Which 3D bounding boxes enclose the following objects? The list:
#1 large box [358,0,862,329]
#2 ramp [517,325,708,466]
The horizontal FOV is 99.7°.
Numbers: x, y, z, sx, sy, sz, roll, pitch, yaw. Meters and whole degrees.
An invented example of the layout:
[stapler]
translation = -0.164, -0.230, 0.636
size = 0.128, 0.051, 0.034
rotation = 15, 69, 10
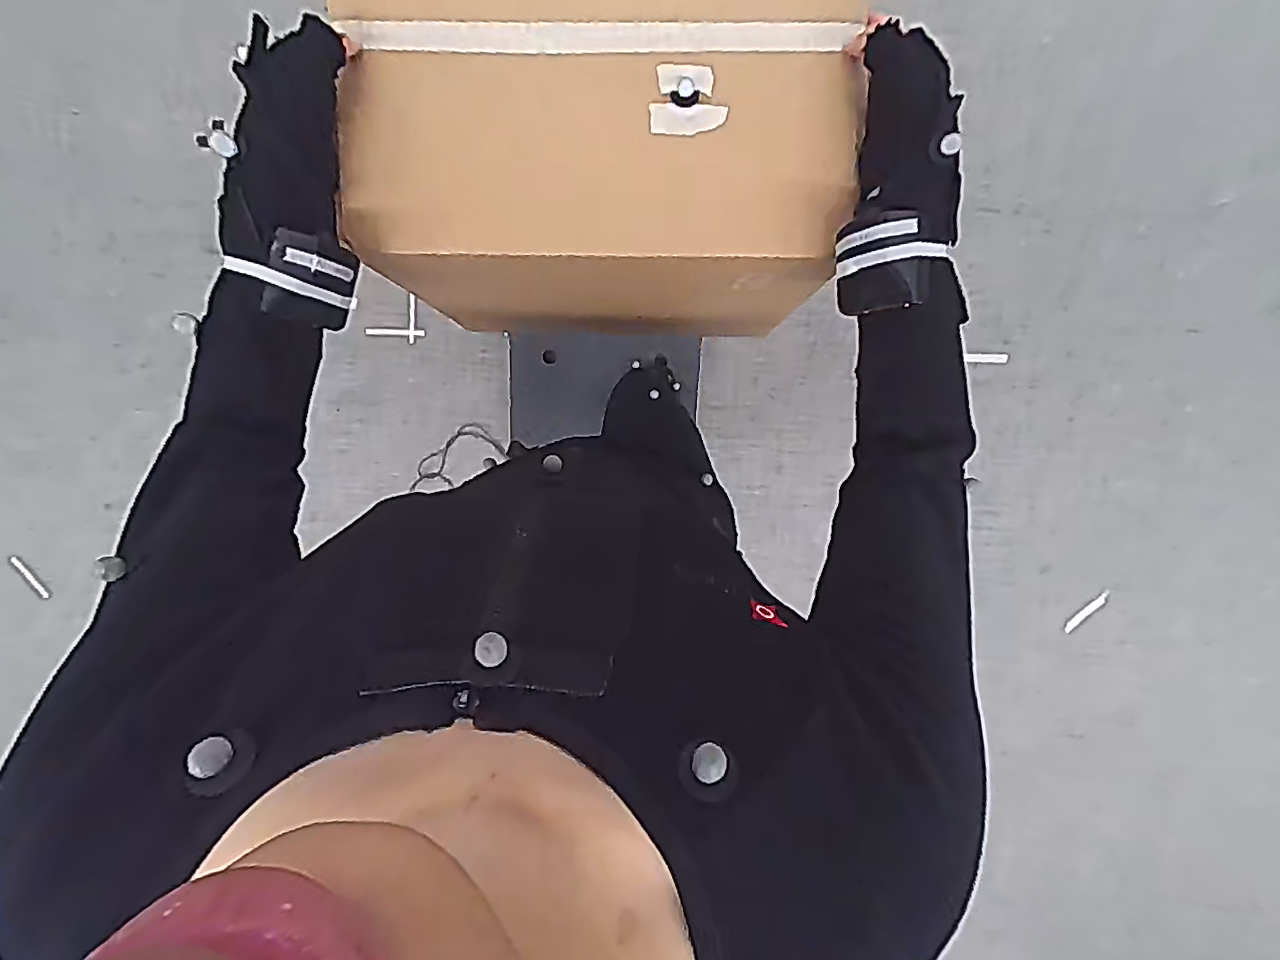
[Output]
[large box]
translation = -0.025, -0.351, 0.574
size = 0.408, 0.320, 0.320
rotation = 1, 94, 0
[ramp]
translation = -0.063, -0.528, 1.348
size = 0.509, 0.206, 0.991
rotation = 1, 95, -2
